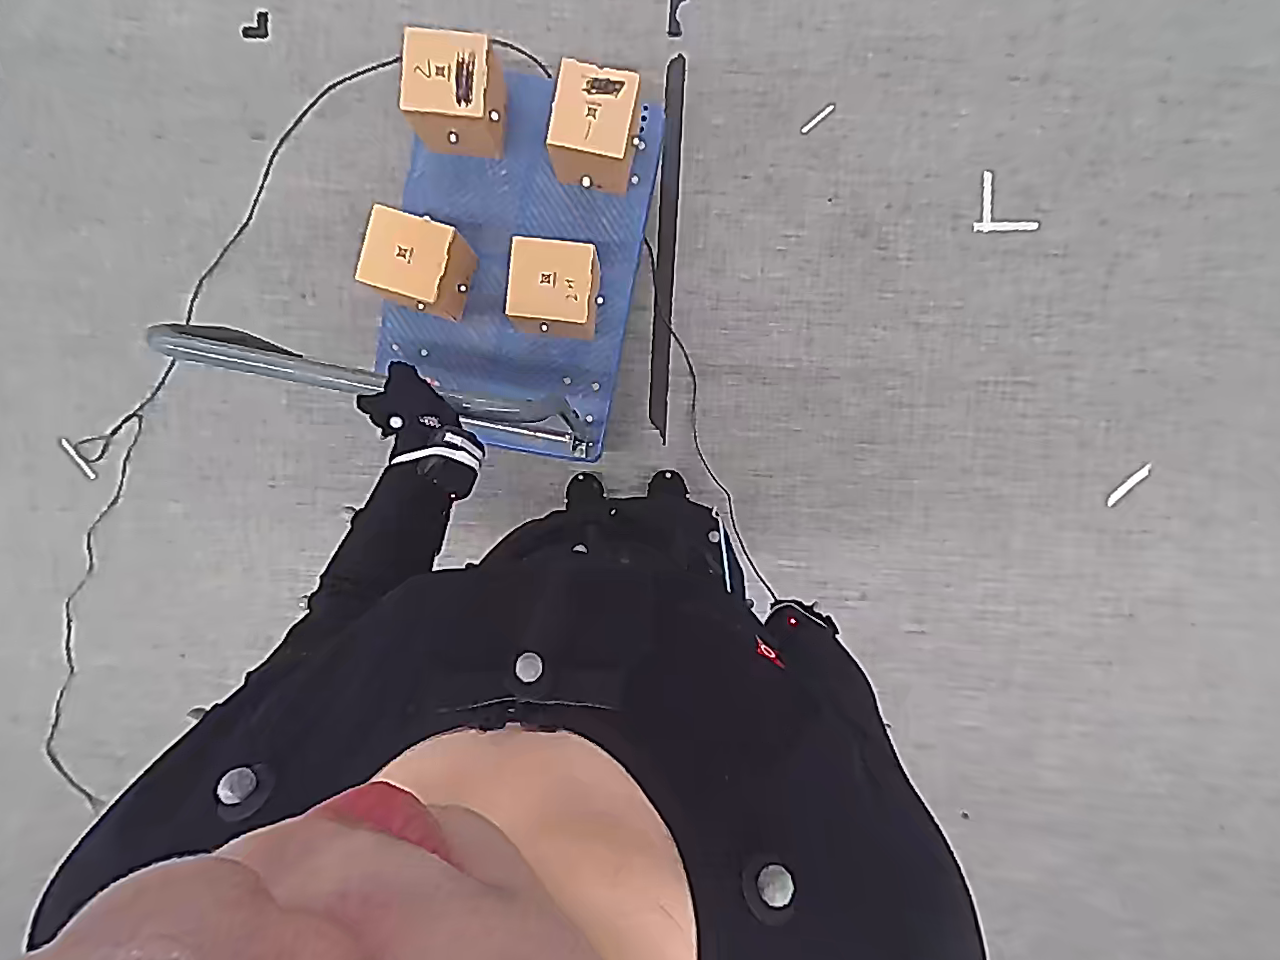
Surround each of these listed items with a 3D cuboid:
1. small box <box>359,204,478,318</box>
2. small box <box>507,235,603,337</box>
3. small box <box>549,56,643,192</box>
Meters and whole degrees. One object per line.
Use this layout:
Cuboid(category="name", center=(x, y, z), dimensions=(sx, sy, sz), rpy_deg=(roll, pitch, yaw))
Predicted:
Cuboid(category="small box", center=(-0.486, -0.478, 1.208), dimensions=(0.179, 0.176, 0.168), rpy_deg=(16, 93, -2))
Cuboid(category="small box", center=(-0.182, -0.425, 1.209), dimensions=(0.179, 0.176, 0.168), rpy_deg=(6, 93, 0))
Cuboid(category="small box", center=(-0.091, -0.772, 1.189), dimensions=(0.168, 0.176, 0.179), rpy_deg=(12, 94, 0))
